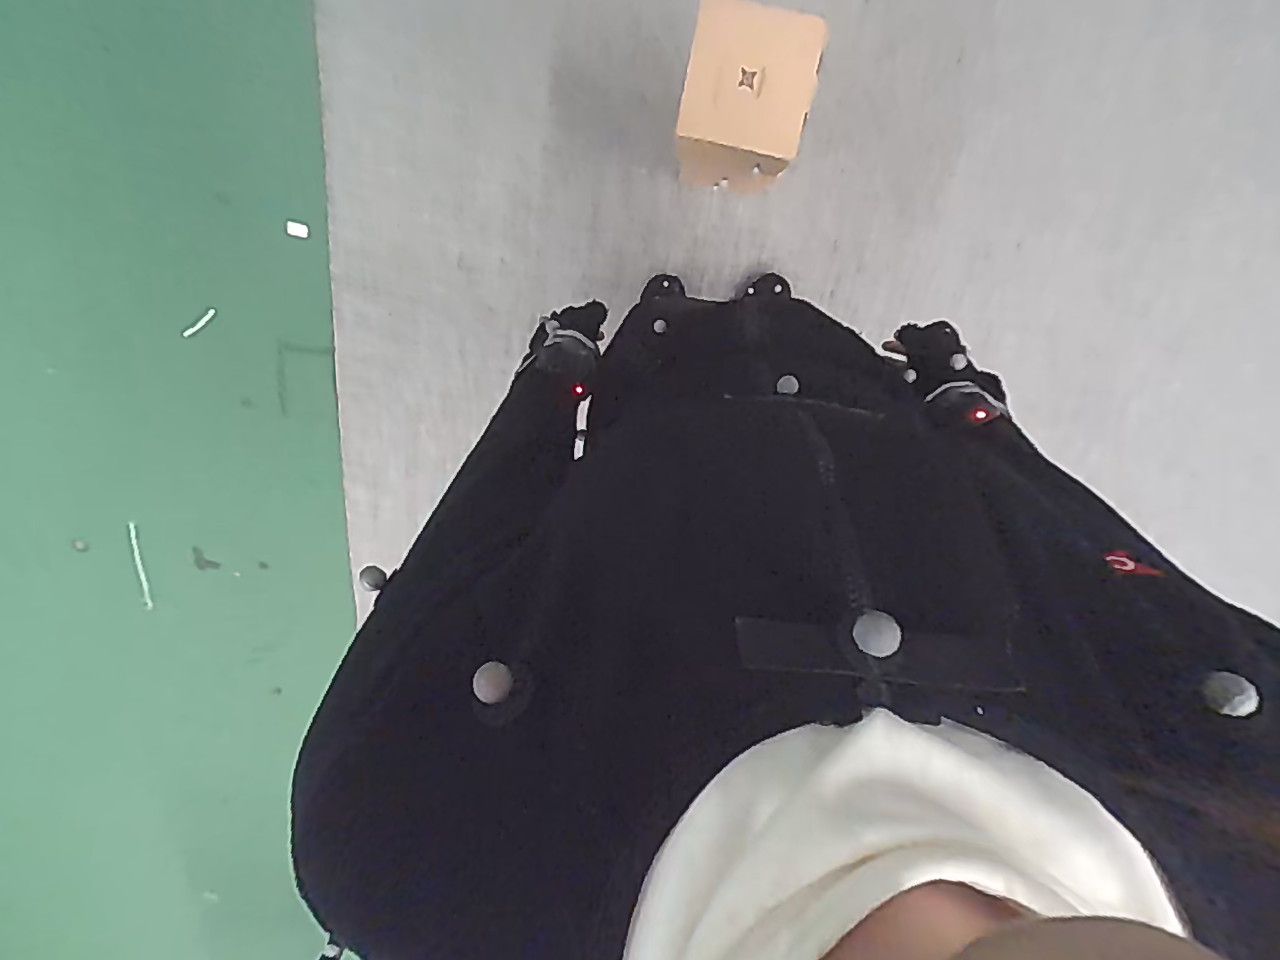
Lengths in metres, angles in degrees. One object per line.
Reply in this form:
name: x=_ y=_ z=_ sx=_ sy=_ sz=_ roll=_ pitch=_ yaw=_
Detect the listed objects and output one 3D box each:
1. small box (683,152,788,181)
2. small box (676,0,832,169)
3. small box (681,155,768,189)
small box: x=0.179 y=-0.640 z=0.954 sx=0.179 sy=0.176 sz=0.168 roll=12 pitch=113 yaw=-2
small box: x=0.157 y=-0.577 z=0.804 sx=0.179 sy=0.176 sz=0.168 roll=12 pitch=112 yaw=0
small box: x=0.188 y=-0.707 z=1.100 sx=0.179 sy=0.176 sz=0.168 roll=14 pitch=111 yaw=-2
